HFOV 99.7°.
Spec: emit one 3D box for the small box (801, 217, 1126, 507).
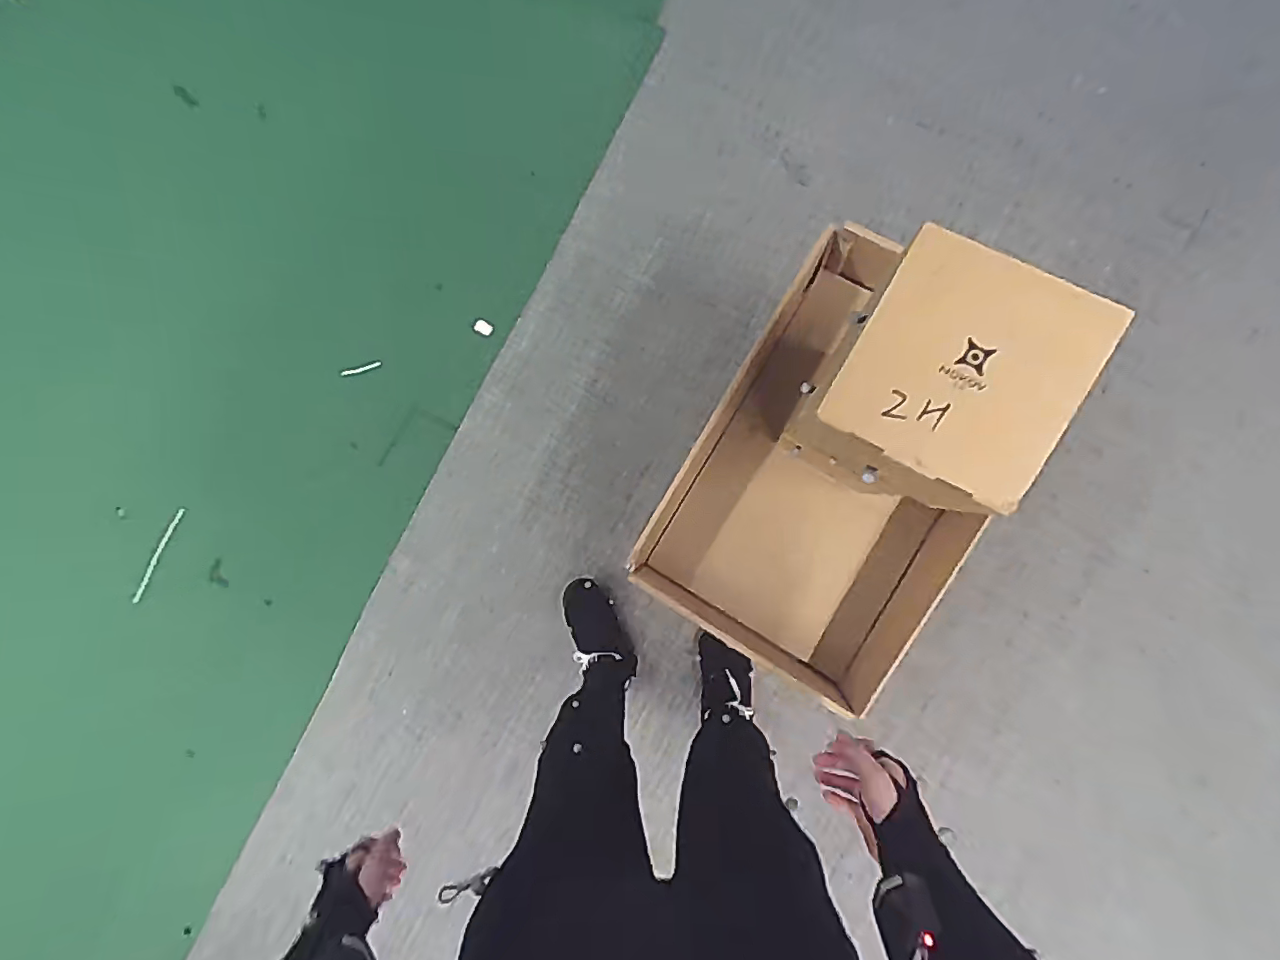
[{"bbox_3d":[0.262,-0.092,0.494,0.168,0.176,0.179,29,95,10],"label":"small box"}]
